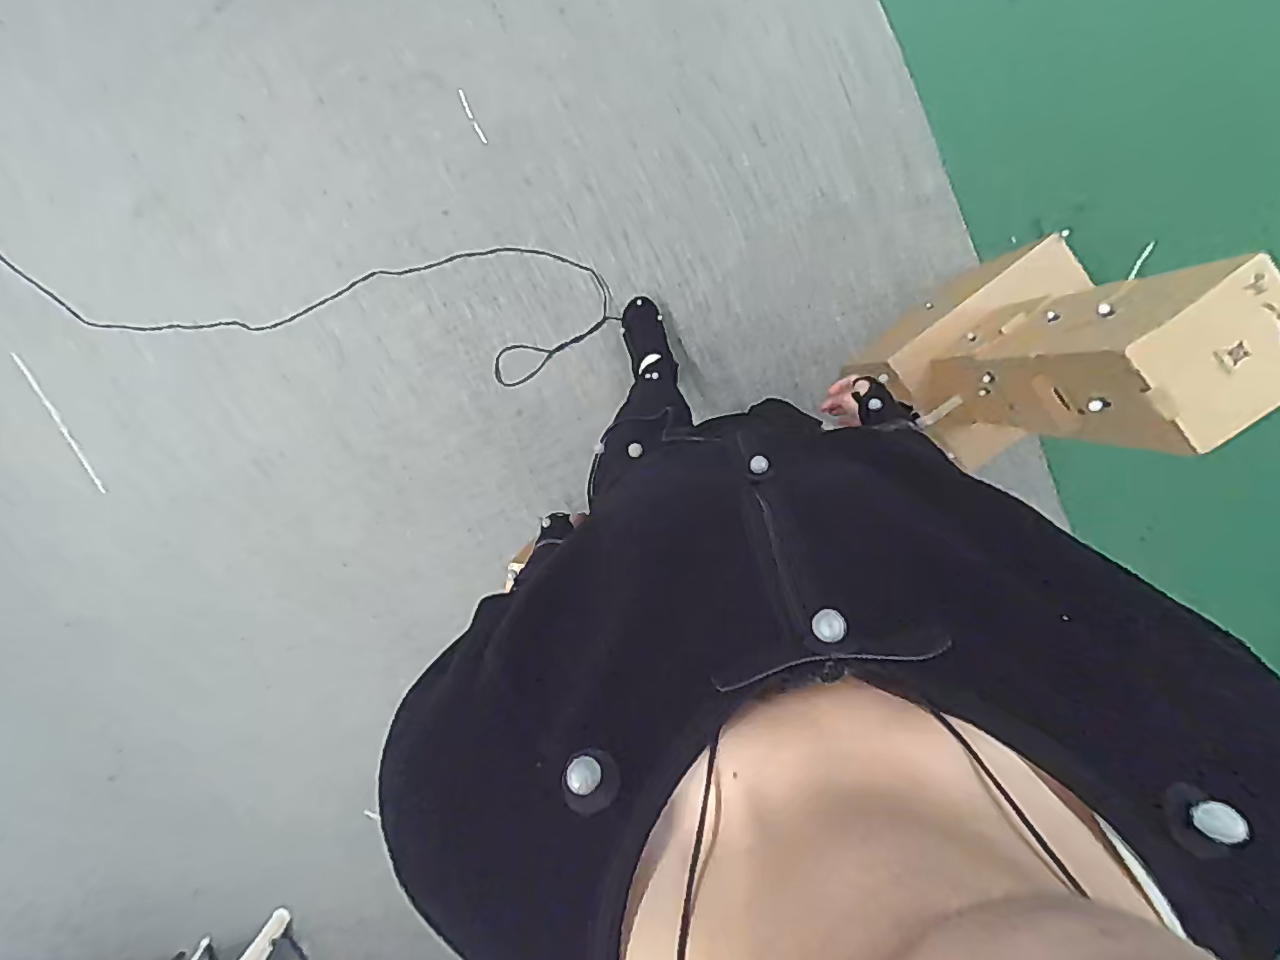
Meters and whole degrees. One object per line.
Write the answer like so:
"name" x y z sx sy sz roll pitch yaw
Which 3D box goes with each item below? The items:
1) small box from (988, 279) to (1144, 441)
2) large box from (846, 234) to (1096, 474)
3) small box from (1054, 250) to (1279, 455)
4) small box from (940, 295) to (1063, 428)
"small box" 0.698 -0.182 0.859 0.179 0.176 0.168 -39 94 9
"large box" 0.770 -0.269 1.254 0.408 0.320 0.320 -39 96 8
"small box" 0.689 -0.155 0.697 0.179 0.176 0.168 -38 95 11
"small box" 0.711 -0.214 1.020 0.168 0.176 0.179 -38 95 10
